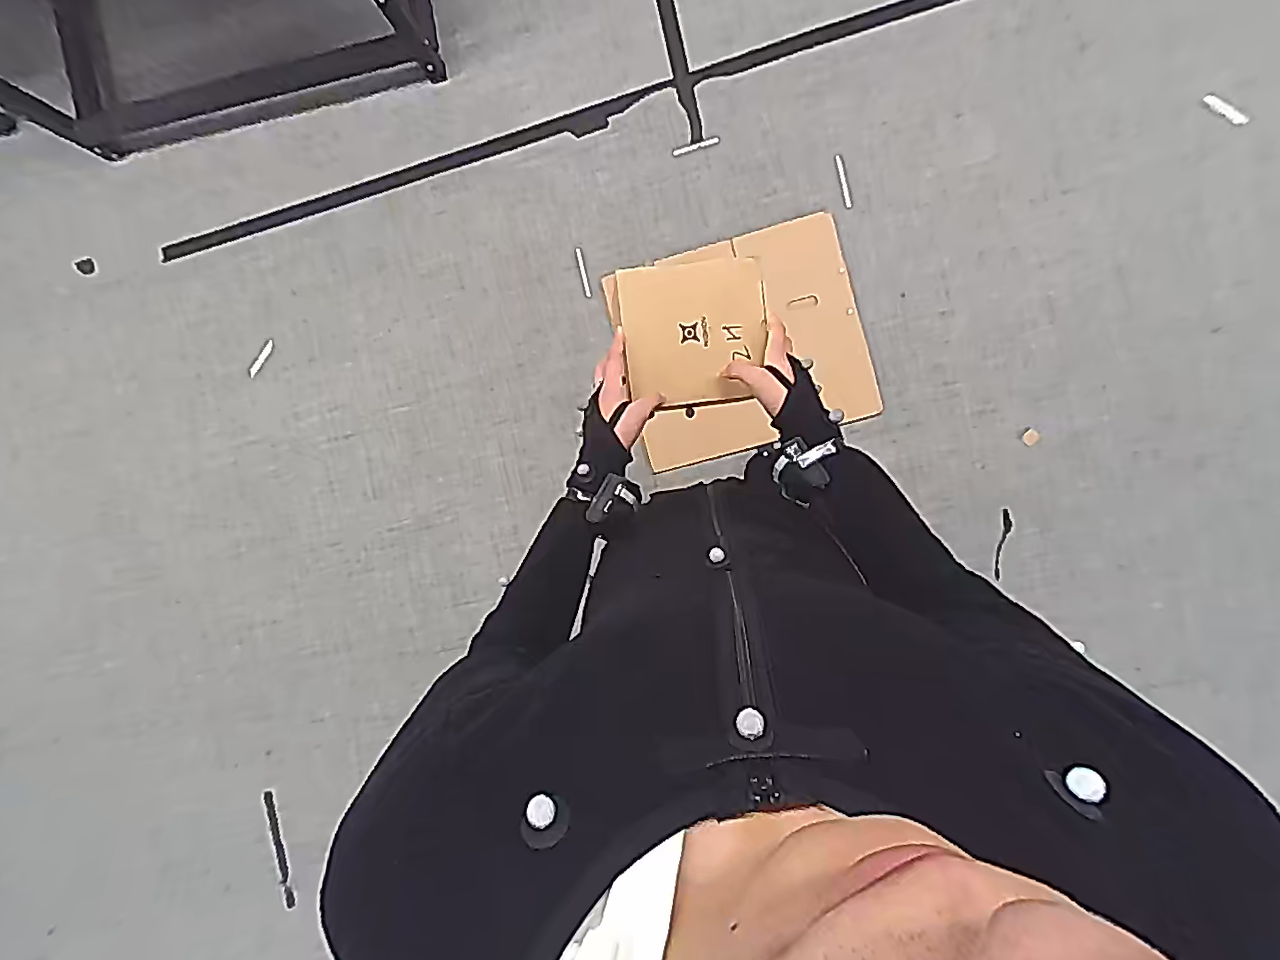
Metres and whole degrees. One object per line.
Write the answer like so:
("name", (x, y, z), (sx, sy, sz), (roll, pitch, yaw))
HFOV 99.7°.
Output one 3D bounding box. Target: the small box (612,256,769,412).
("small box", (0.056, -0.182, 0.719), (0.179, 0.176, 0.168), (-7, 96, -5))
